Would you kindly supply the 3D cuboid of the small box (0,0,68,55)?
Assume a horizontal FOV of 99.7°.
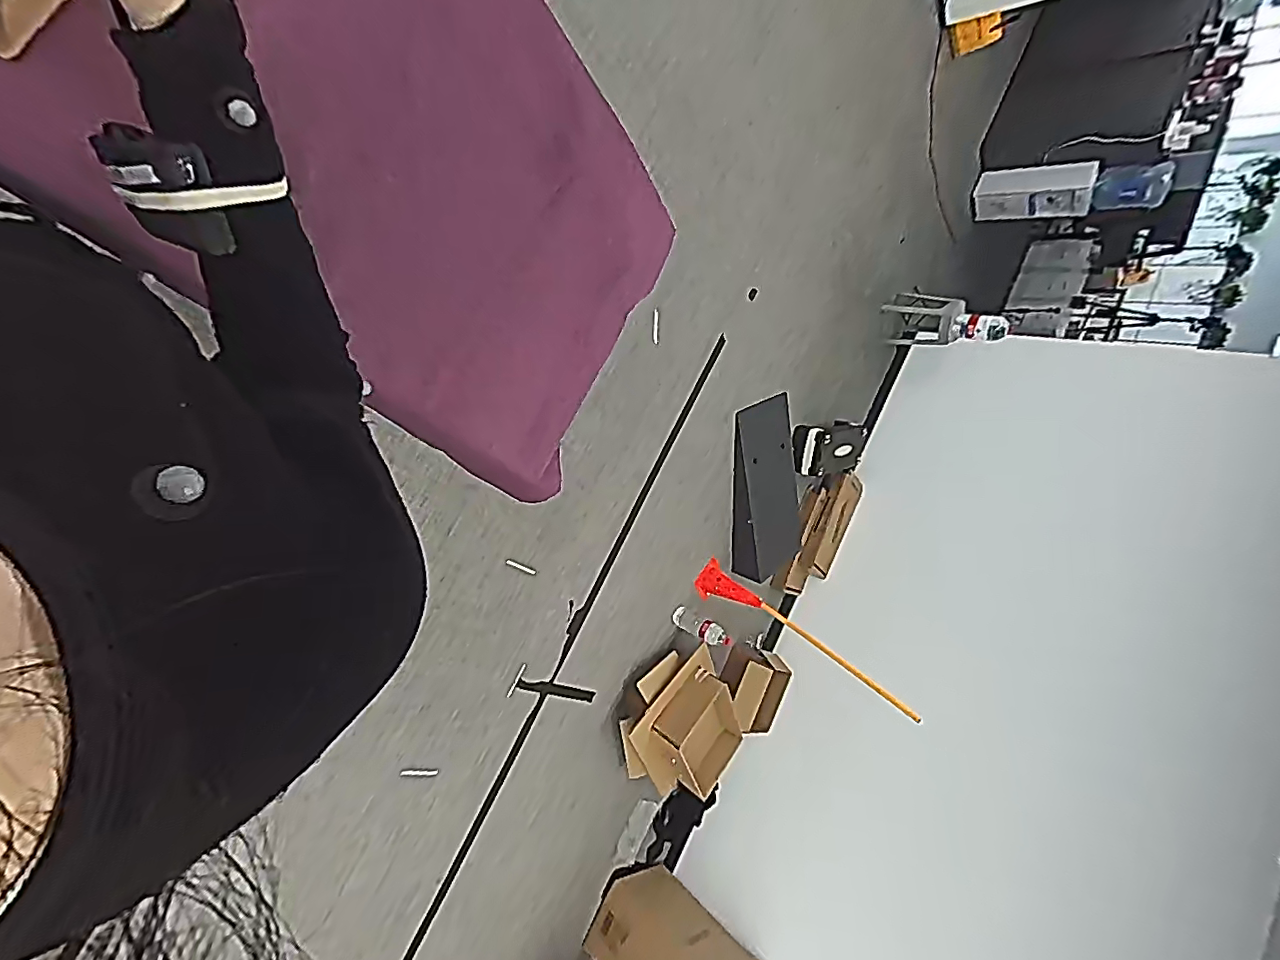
[{"bbox_3d":[-0.503,-0.454,0.381,0.168,0.176,0.179,40,74,-49],"label":"small box"}]
